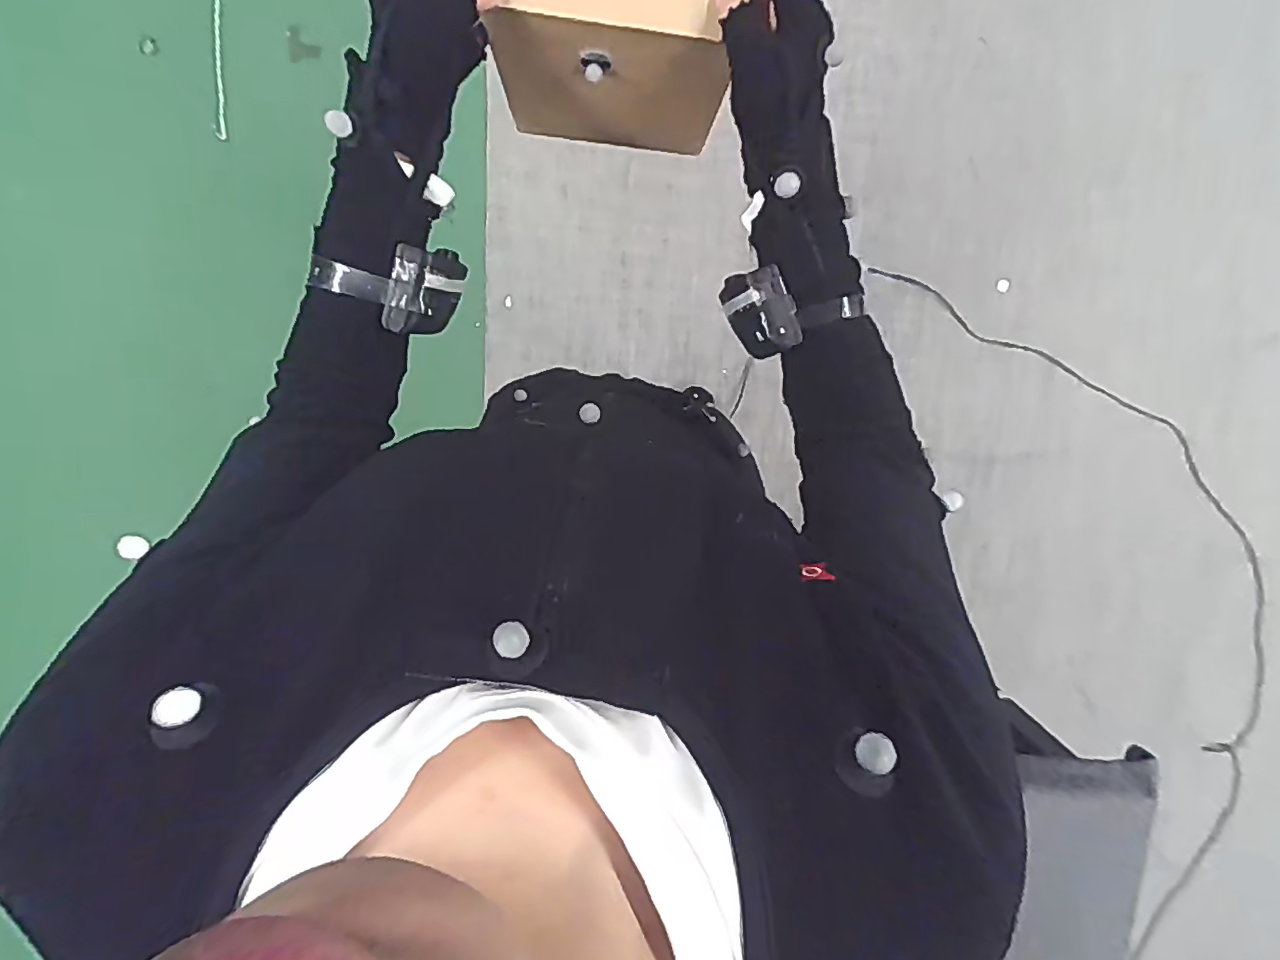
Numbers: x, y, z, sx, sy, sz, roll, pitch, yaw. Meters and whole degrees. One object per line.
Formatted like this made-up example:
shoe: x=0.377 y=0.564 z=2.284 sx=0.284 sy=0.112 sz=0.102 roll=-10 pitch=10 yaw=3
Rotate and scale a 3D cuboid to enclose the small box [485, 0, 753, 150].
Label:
small box: x=-0.012 y=-0.385 z=0.418 sx=0.179 sy=0.176 sz=0.168 roll=5 pitch=99 yaw=-5
